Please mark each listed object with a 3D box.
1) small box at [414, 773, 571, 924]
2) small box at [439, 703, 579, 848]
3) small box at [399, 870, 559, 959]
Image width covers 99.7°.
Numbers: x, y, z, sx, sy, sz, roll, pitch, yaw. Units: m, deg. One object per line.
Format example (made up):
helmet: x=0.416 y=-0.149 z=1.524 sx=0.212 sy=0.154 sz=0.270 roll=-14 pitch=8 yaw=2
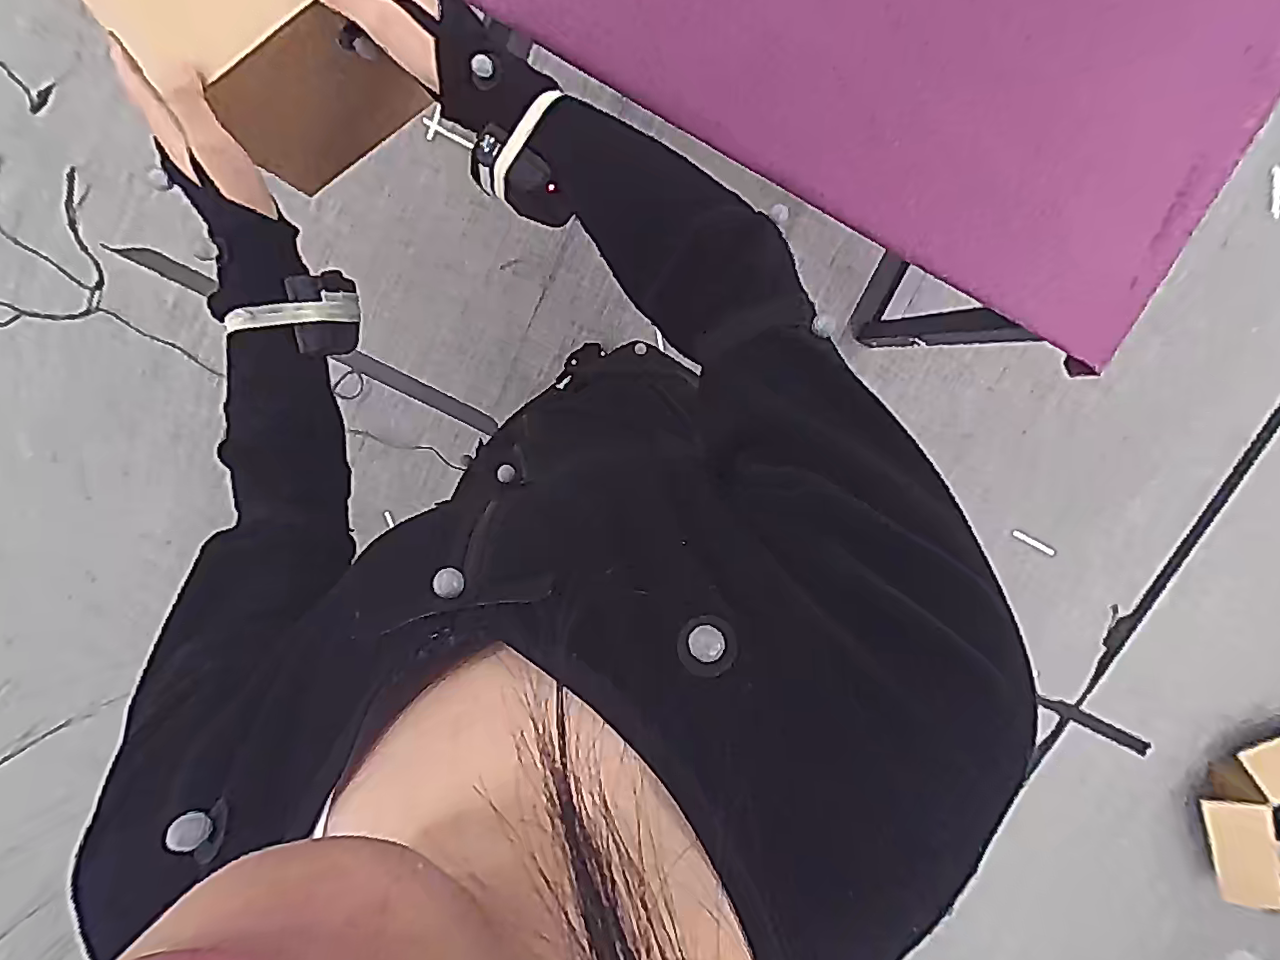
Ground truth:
small box: x=-0.206 y=0.565 z=0.774 sx=0.168 sy=0.176 sz=0.179 roll=25 pitch=101 yaw=-8
small box: x=-0.214 y=0.529 z=0.932 sx=0.168 sy=0.176 sz=0.179 roll=27 pitch=102 yaw=-9
small box: x=-0.201 y=0.603 z=0.616 sx=0.168 sy=0.176 sz=0.179 roll=25 pitch=100 yaw=-9
